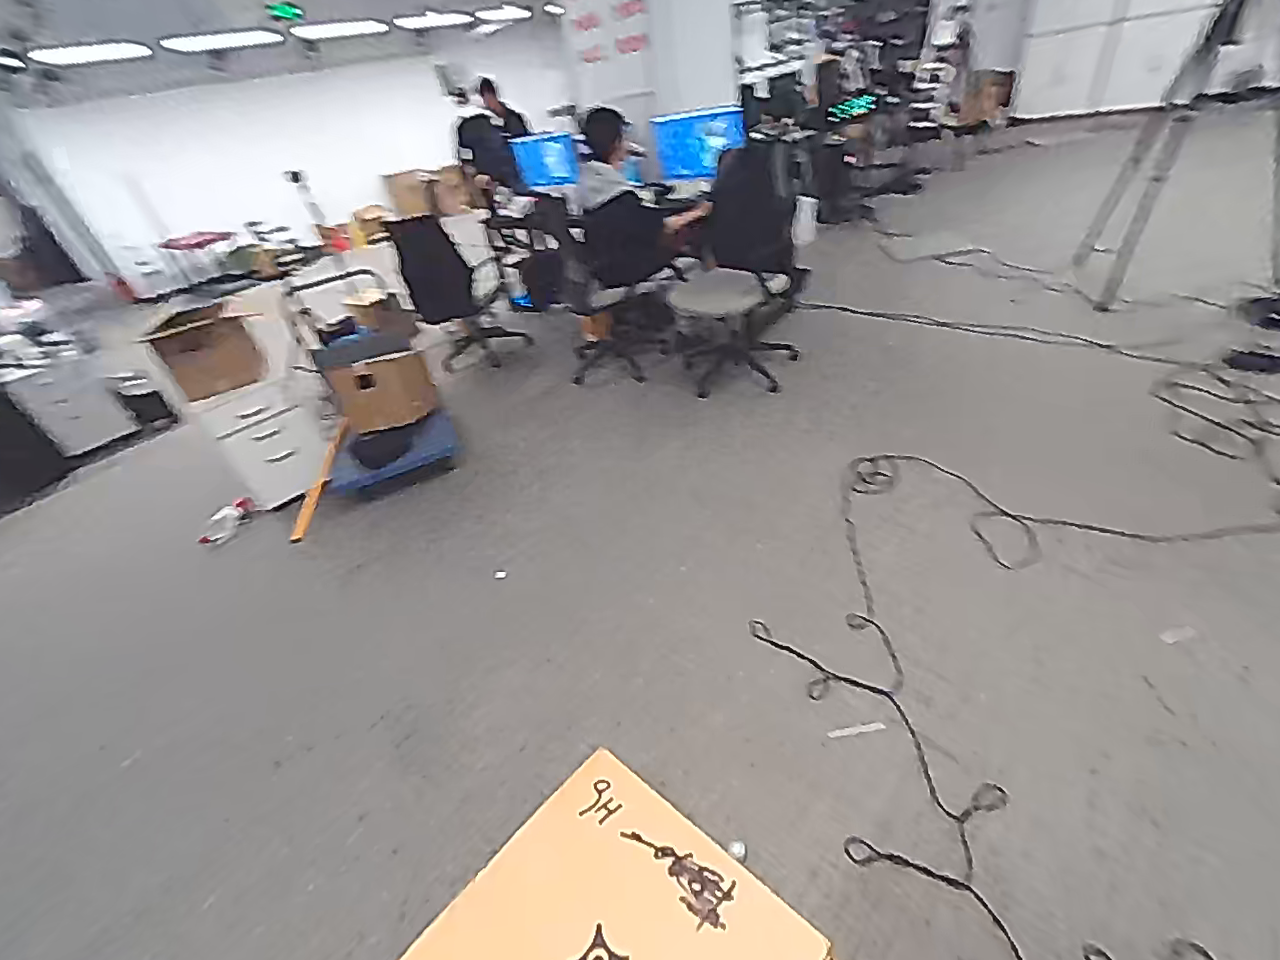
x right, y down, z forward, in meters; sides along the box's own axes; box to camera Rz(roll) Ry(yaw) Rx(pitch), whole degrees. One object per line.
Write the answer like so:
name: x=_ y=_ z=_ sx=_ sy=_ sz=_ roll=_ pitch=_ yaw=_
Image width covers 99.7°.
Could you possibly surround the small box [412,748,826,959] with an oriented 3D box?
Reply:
small box: x=-0.003 y=0.309 z=0.308 sx=0.168 sy=0.176 sz=0.179 roll=19 pitch=45 yaw=43
